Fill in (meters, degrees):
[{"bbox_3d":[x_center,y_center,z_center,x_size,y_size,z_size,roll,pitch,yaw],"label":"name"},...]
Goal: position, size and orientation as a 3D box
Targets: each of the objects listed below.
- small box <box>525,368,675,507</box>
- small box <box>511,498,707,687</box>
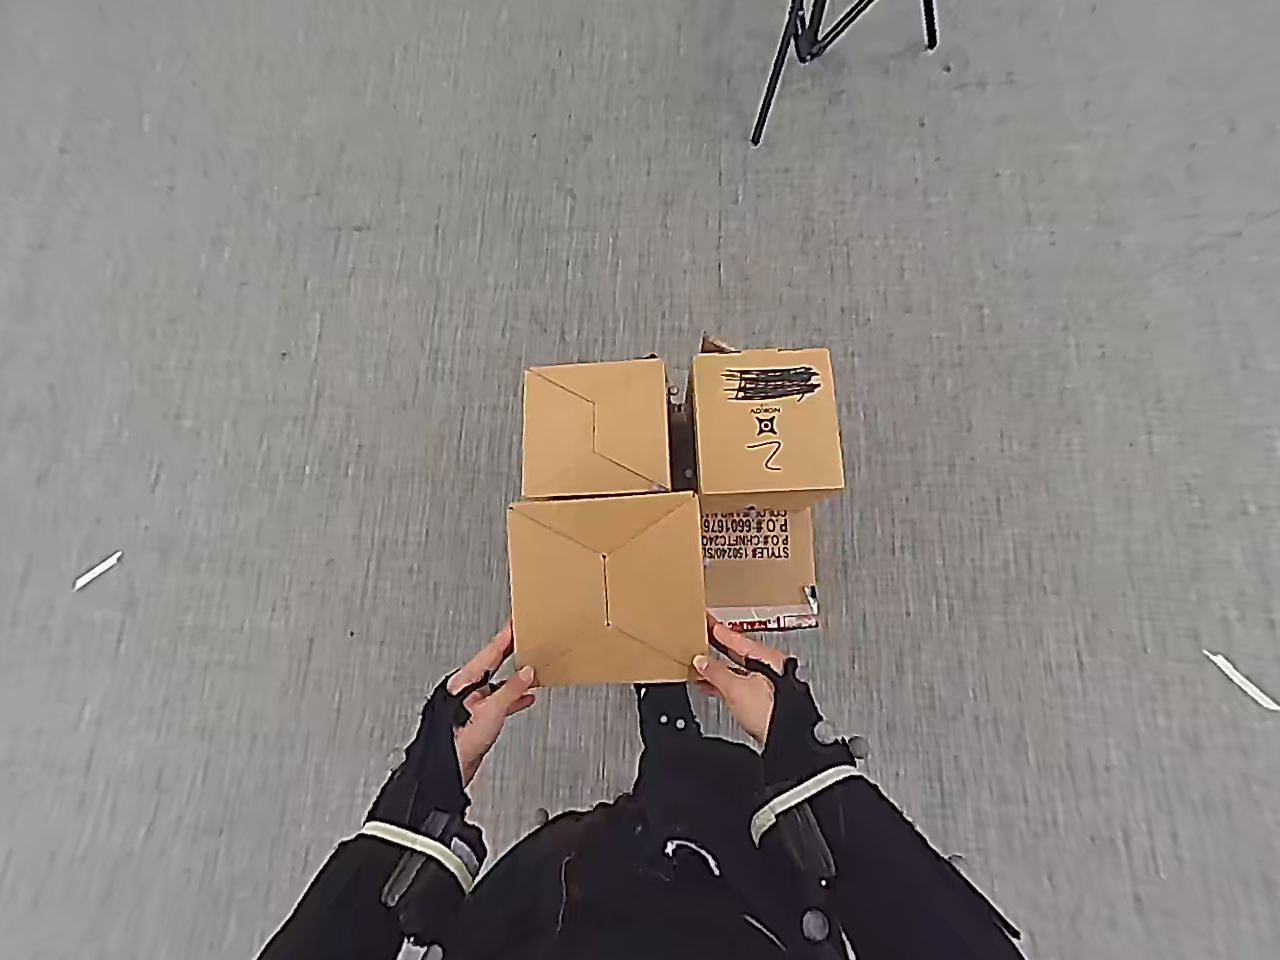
[{"bbox_3d":[-0.045,-0.042,0.729,0.179,0.176,0.168,-2,78,5],"label":"small box"},{"bbox_3d":[-0.027,0.106,0.568,0.179,0.176,0.168,-4,88,4],"label":"small box"}]
